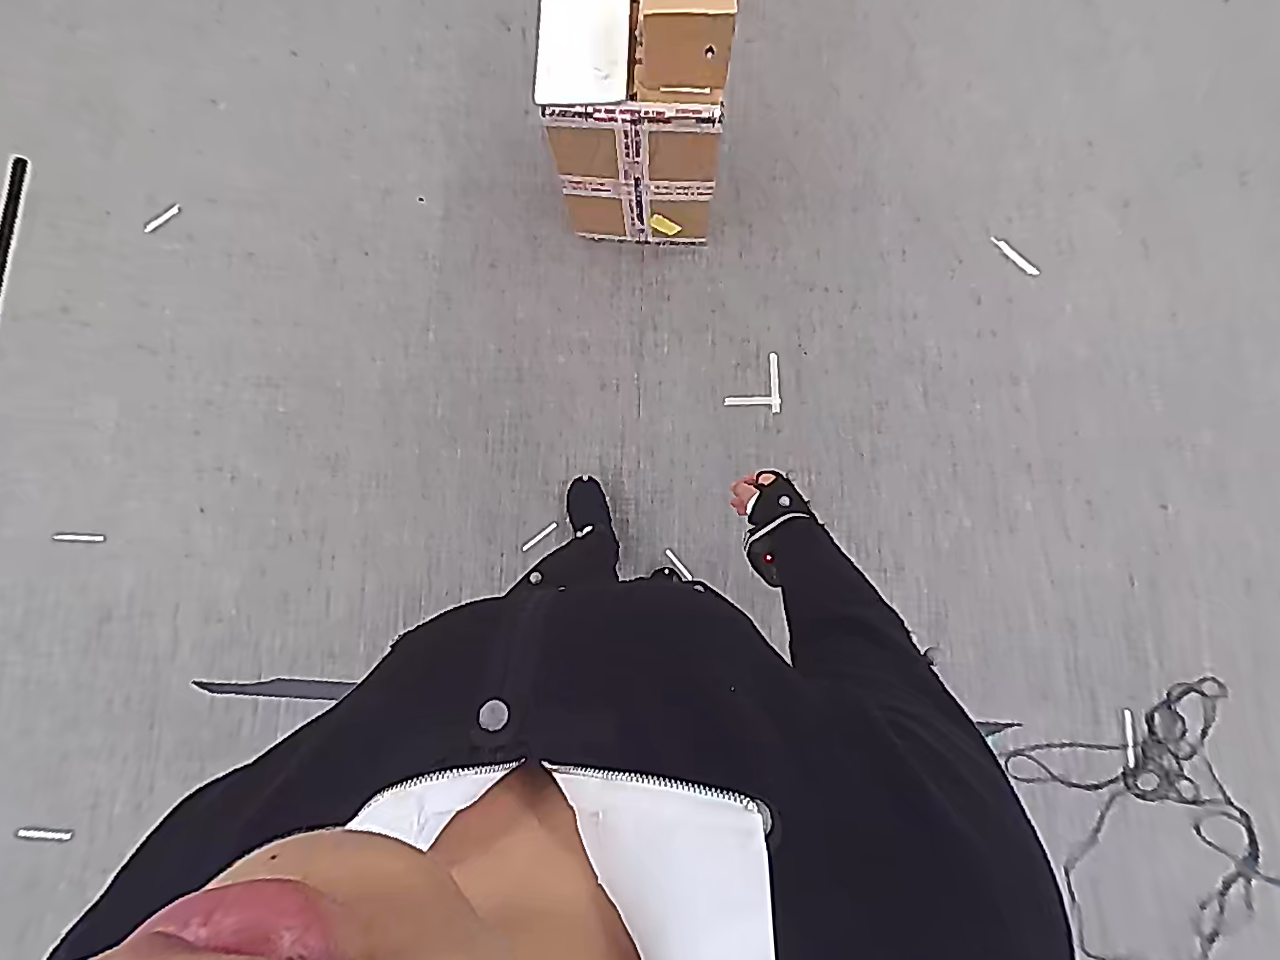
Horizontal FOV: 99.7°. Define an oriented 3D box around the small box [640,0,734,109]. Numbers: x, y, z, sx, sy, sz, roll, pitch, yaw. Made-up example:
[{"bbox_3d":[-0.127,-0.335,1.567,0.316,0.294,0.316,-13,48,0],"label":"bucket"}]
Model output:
[{"bbox_3d":[0.089,-0.884,1.087,0.179,0.176,0.168,0,84,1],"label":"small box"}]
